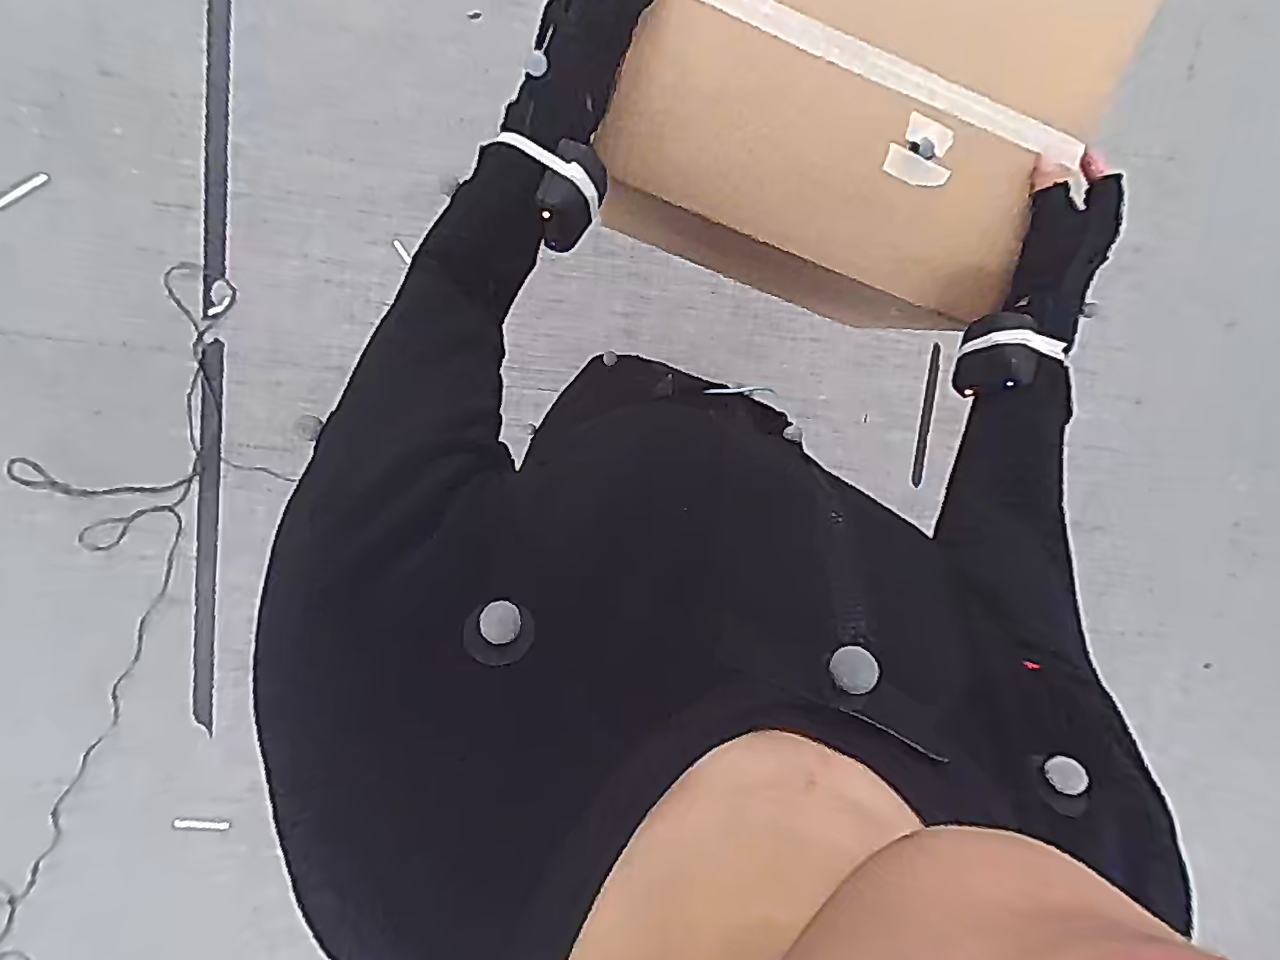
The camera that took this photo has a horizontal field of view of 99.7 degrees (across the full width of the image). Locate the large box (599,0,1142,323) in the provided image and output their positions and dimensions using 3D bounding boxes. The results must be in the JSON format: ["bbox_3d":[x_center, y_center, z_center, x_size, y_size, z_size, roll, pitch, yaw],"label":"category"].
[{"bbox_3d":[0.190,-0.396,0.611,0.408,0.320,0.320,19,107,-8],"label":"large box"}]
